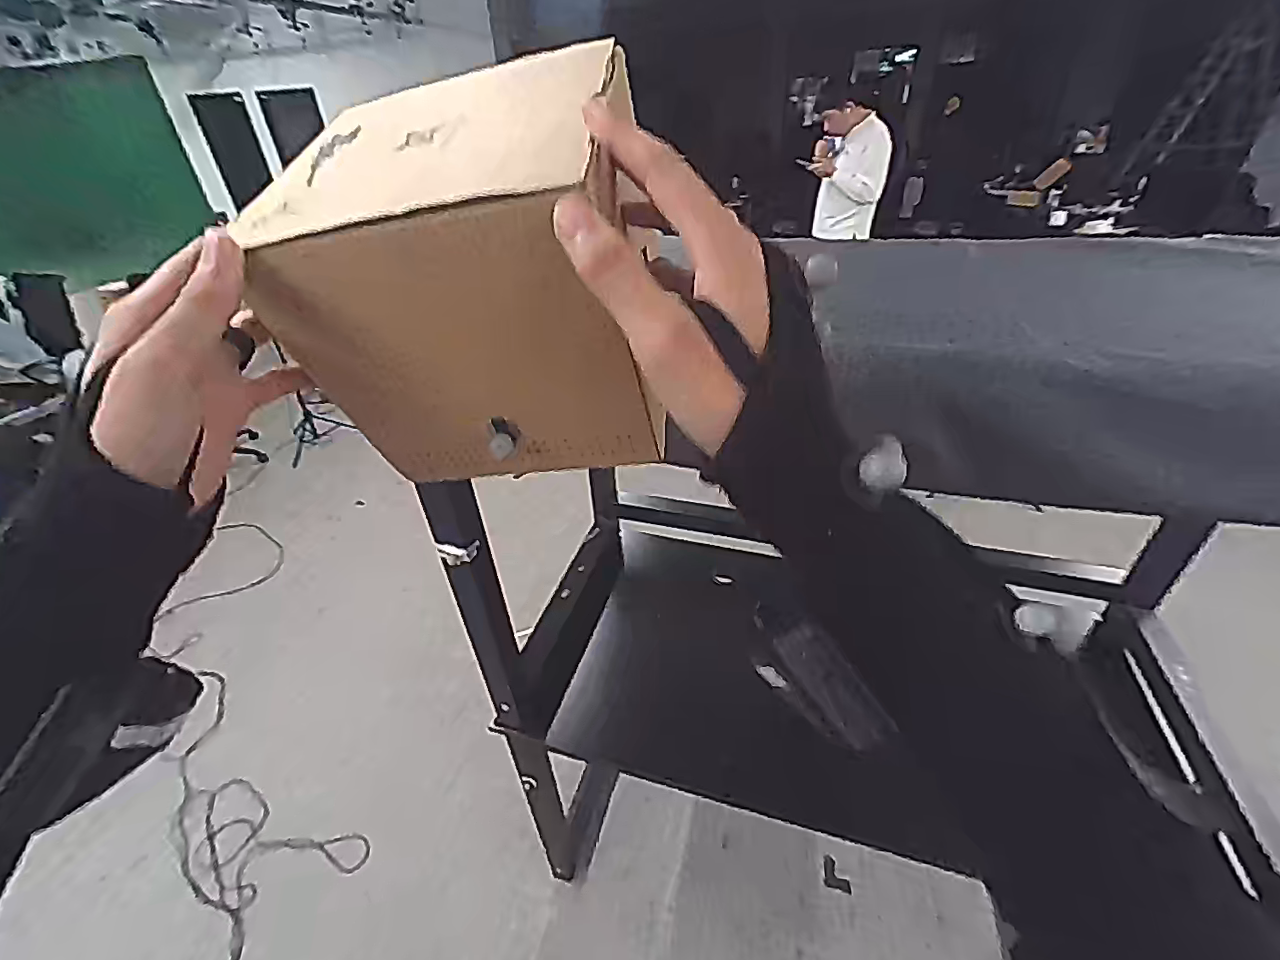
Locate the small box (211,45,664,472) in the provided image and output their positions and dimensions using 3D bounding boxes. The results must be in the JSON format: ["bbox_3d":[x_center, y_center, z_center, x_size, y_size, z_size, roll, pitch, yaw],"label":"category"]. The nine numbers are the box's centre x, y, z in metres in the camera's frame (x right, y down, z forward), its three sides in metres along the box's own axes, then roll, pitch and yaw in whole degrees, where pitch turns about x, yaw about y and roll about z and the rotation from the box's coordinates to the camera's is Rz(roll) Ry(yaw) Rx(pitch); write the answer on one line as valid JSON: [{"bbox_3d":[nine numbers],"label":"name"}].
[{"bbox_3d":[-0.082,-0.120,0.328,0.179,0.176,0.168,-4,52,11],"label":"small box"}]
